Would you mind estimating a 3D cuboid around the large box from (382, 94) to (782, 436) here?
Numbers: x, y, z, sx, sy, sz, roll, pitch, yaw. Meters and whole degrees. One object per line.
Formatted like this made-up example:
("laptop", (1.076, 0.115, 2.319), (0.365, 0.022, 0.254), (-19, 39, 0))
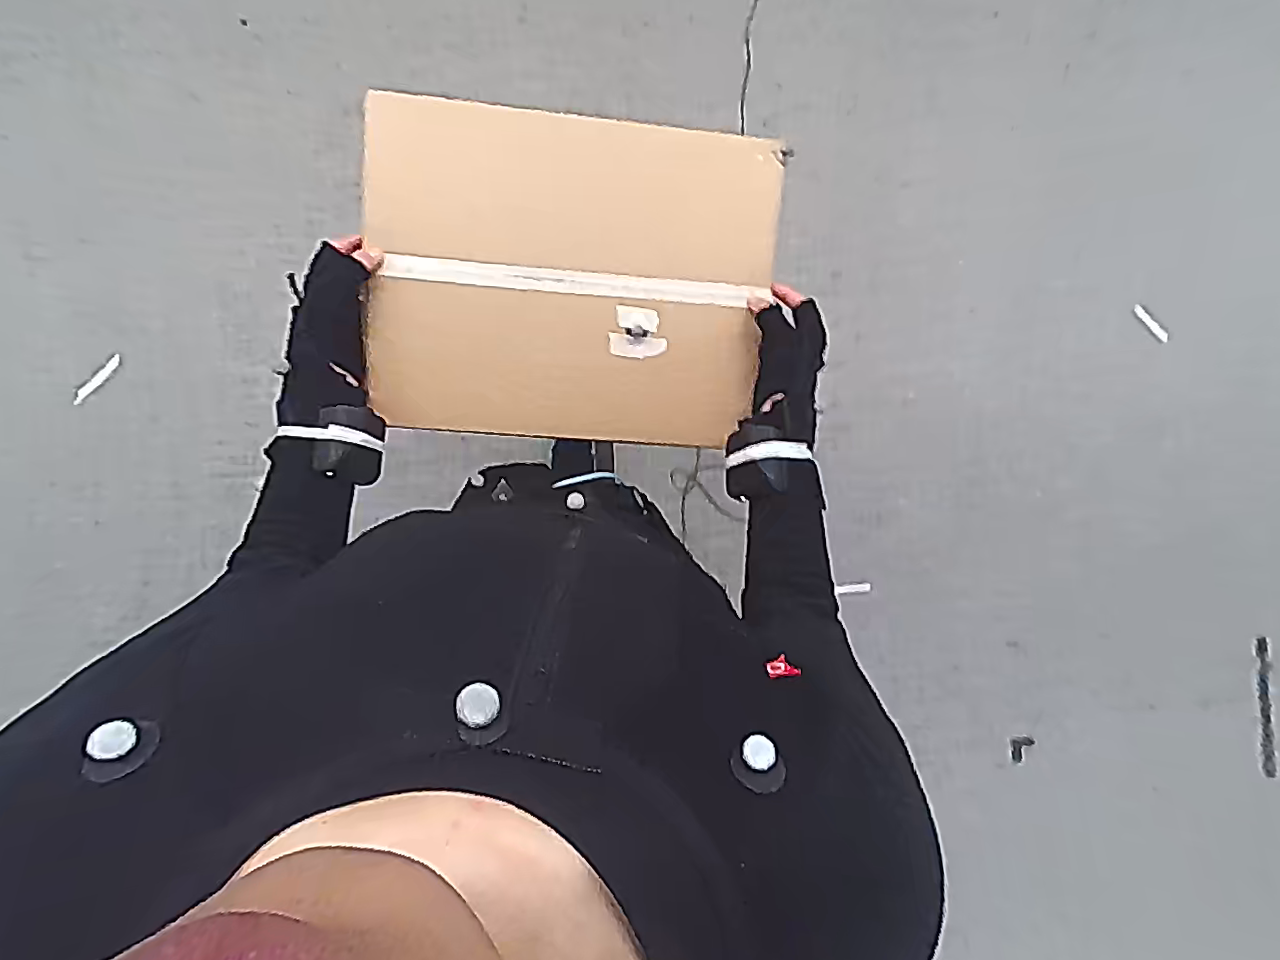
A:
("large box", (-0.075, -0.230, 0.704), (0.408, 0.320, 0.320), (4, 98, -6))
